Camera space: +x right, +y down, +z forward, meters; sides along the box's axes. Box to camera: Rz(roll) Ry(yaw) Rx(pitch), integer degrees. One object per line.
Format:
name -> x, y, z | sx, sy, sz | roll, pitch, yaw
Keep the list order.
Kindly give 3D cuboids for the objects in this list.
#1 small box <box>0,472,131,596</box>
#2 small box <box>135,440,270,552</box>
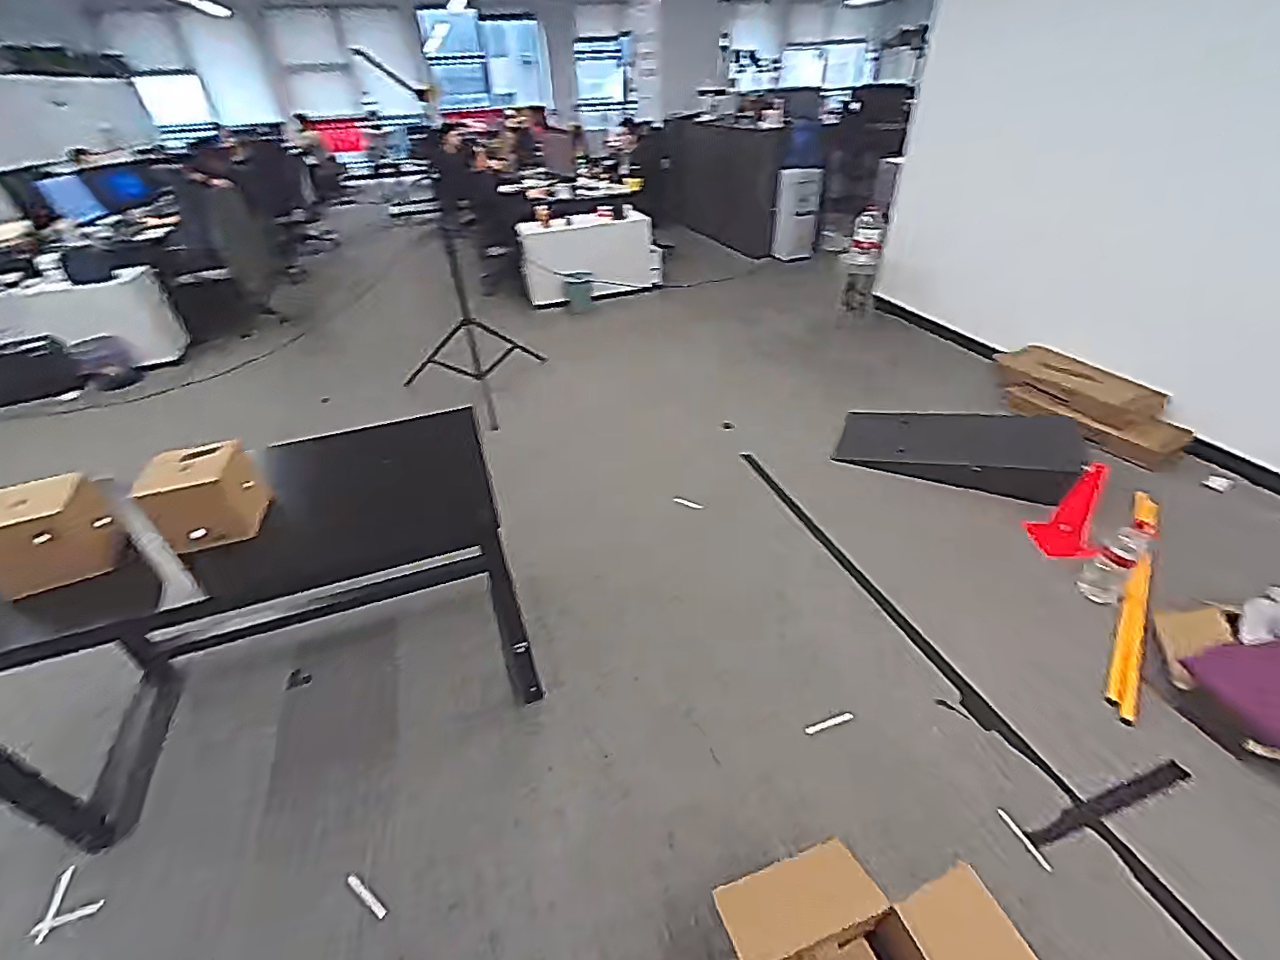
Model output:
small box -> -1.245, 0.113, 1.148 | 0.179, 0.176, 0.168 | -19, 39, -20
small box -> -0.979, 0.036, 1.234 | 0.168, 0.176, 0.179 | -13, 39, -13
